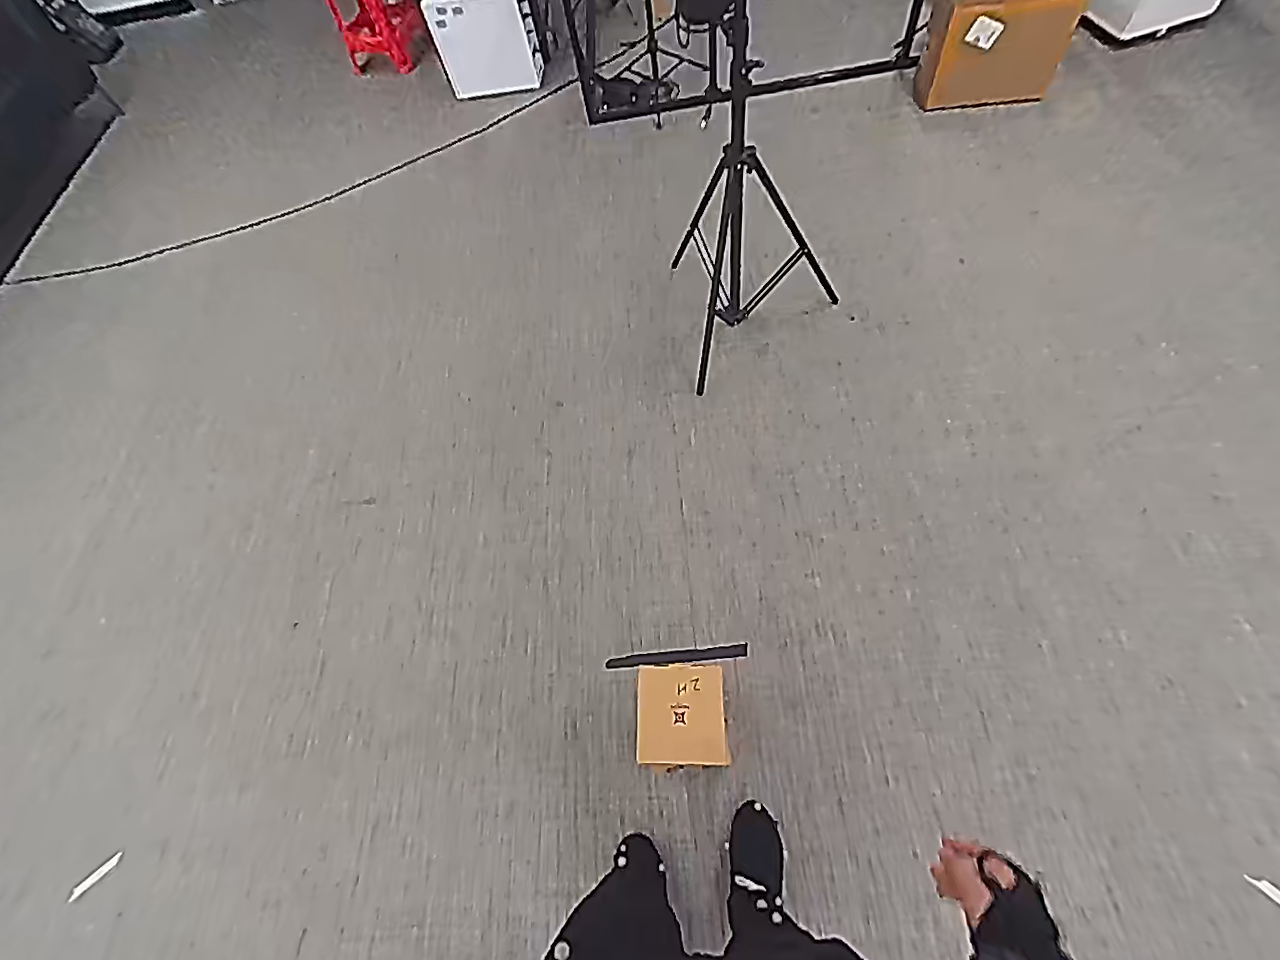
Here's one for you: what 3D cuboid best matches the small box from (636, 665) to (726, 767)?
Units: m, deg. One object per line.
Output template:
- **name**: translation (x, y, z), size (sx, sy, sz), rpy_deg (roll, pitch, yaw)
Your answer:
- **small box**: translation (0.087, 0.476, 1.087), size (0.168, 0.176, 0.179), rpy_deg (-2, 61, 8)
